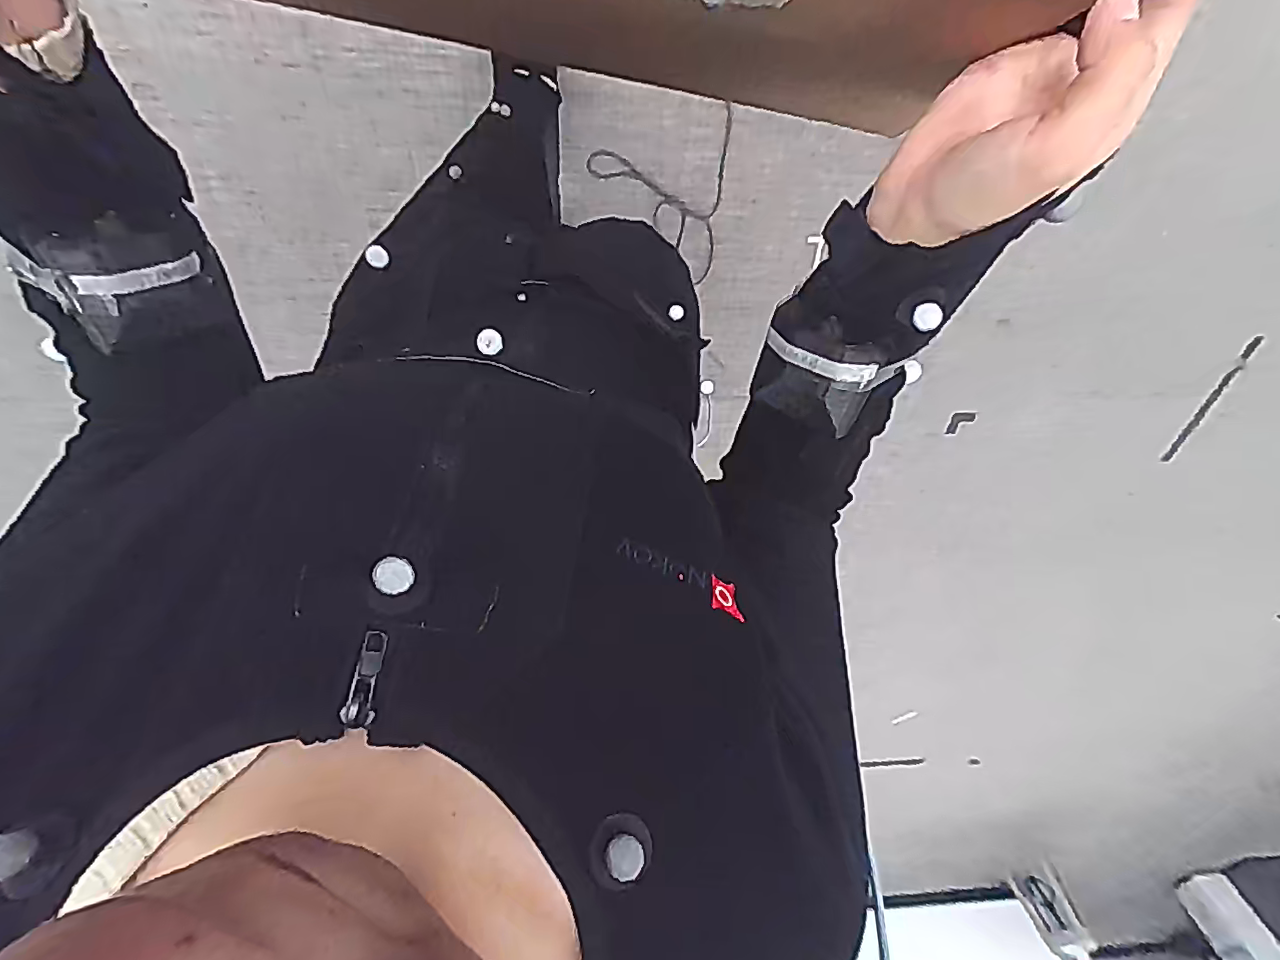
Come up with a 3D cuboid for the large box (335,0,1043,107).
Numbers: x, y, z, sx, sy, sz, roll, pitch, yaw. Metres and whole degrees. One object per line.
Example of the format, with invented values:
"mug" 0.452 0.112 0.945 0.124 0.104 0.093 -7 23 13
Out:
"large box" -0.014 -0.348 0.115 0.408 0.320 0.320 5 104 -7
